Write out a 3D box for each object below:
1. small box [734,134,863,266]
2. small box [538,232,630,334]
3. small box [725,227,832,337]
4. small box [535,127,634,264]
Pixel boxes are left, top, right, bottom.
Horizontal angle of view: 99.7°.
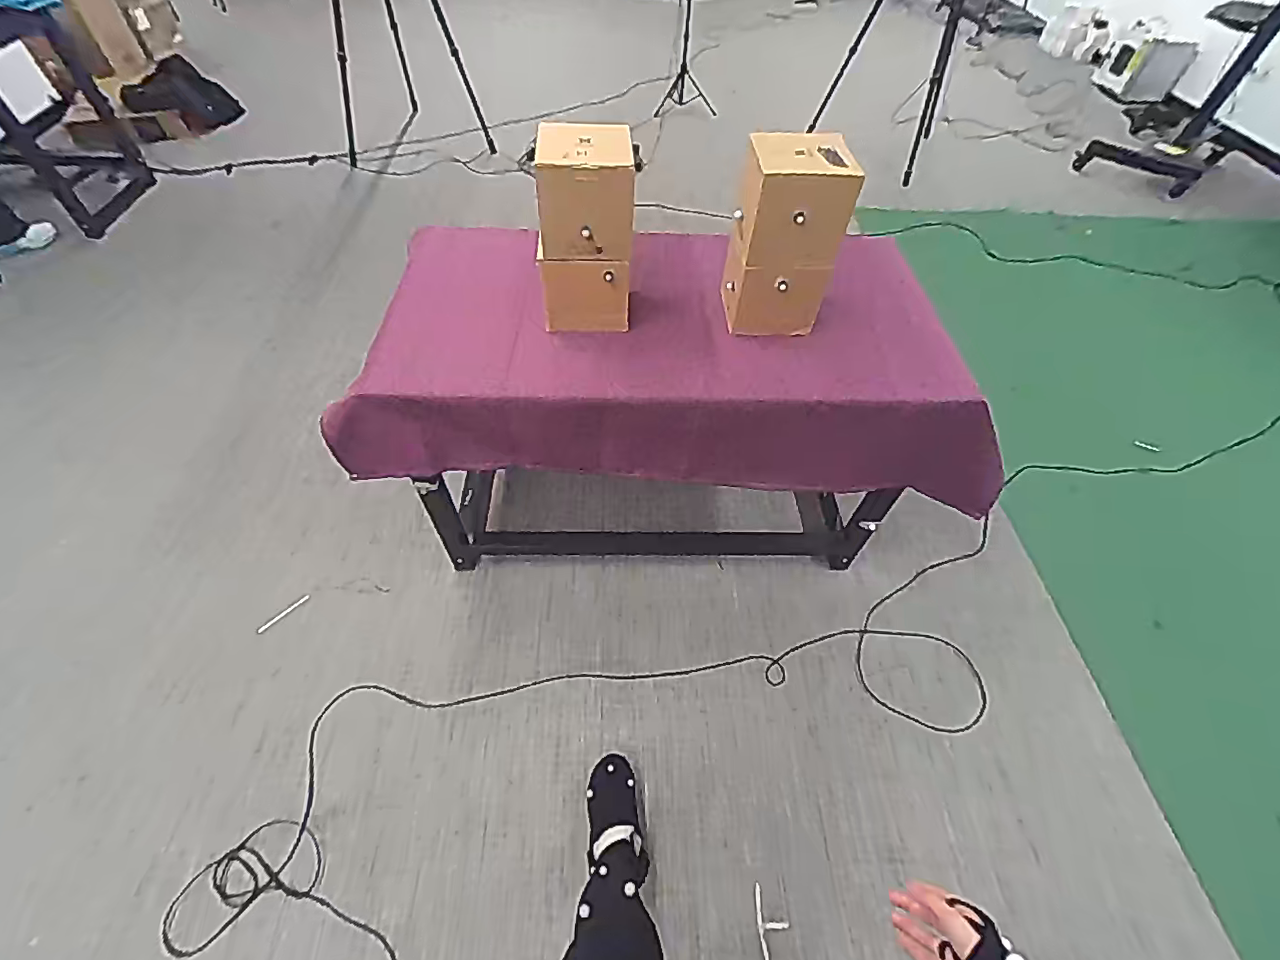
[{"bbox_3d":[0.284,-0.519,1.012,0.179,0.176,0.168,-1,53,-2],"label":"small box"},{"bbox_3d":[-0.112,-0.420,1.128,0.179,0.176,0.168,-1,52,-4],"label":"small box"},{"bbox_3d":[0.279,-0.418,1.142,0.179,0.176,0.168,1,53,-3],"label":"small box"},{"bbox_3d":[-0.099,-0.525,1.001,0.168,0.176,0.179,-2,52,-4],"label":"small box"}]
